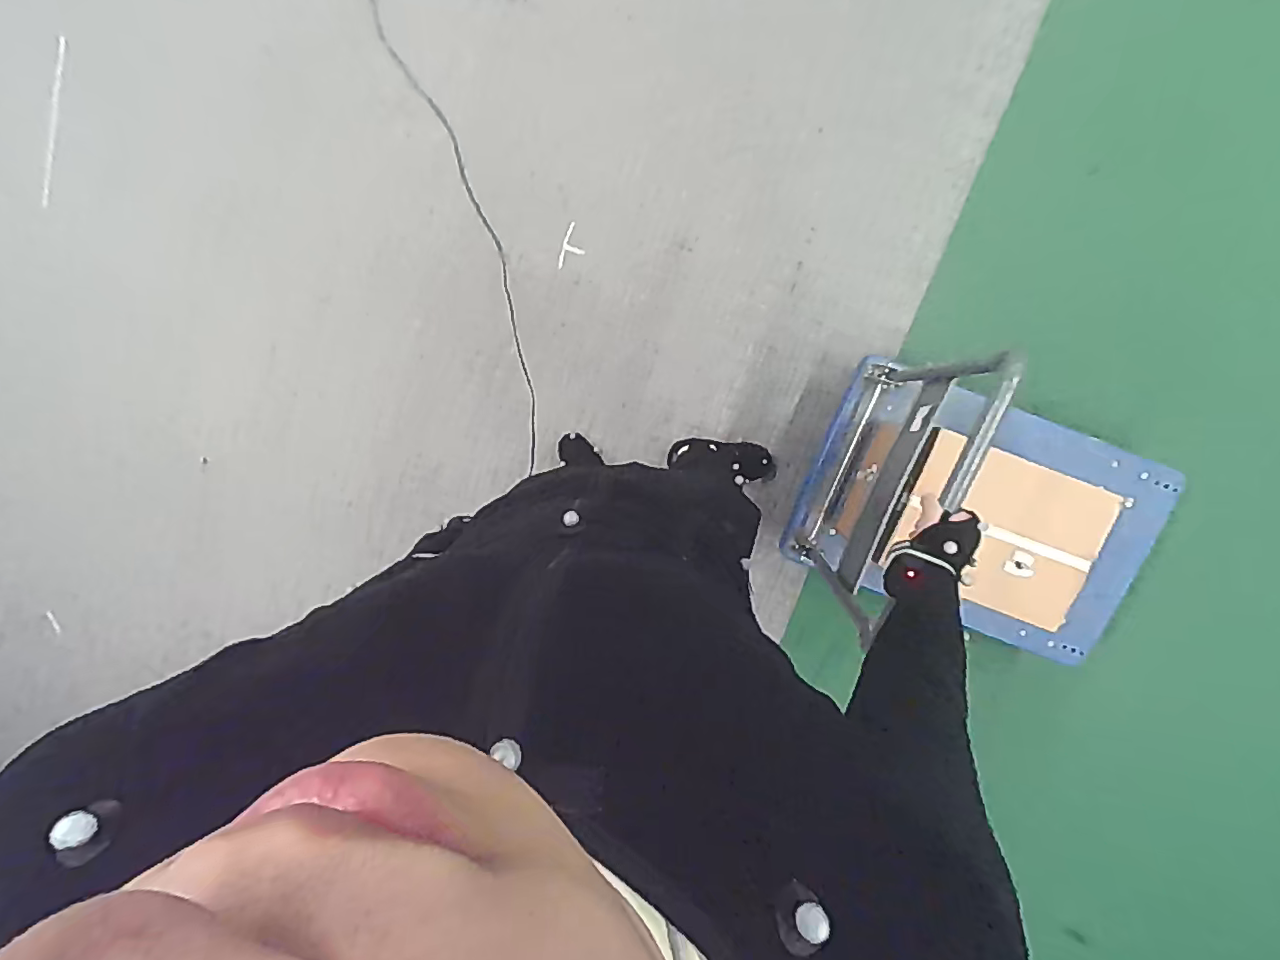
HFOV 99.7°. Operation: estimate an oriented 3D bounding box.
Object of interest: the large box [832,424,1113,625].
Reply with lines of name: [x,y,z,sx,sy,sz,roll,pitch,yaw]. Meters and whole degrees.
large box: [0.735,0.081,1.270,0.408,0.320,0.320,21,100,-1]
